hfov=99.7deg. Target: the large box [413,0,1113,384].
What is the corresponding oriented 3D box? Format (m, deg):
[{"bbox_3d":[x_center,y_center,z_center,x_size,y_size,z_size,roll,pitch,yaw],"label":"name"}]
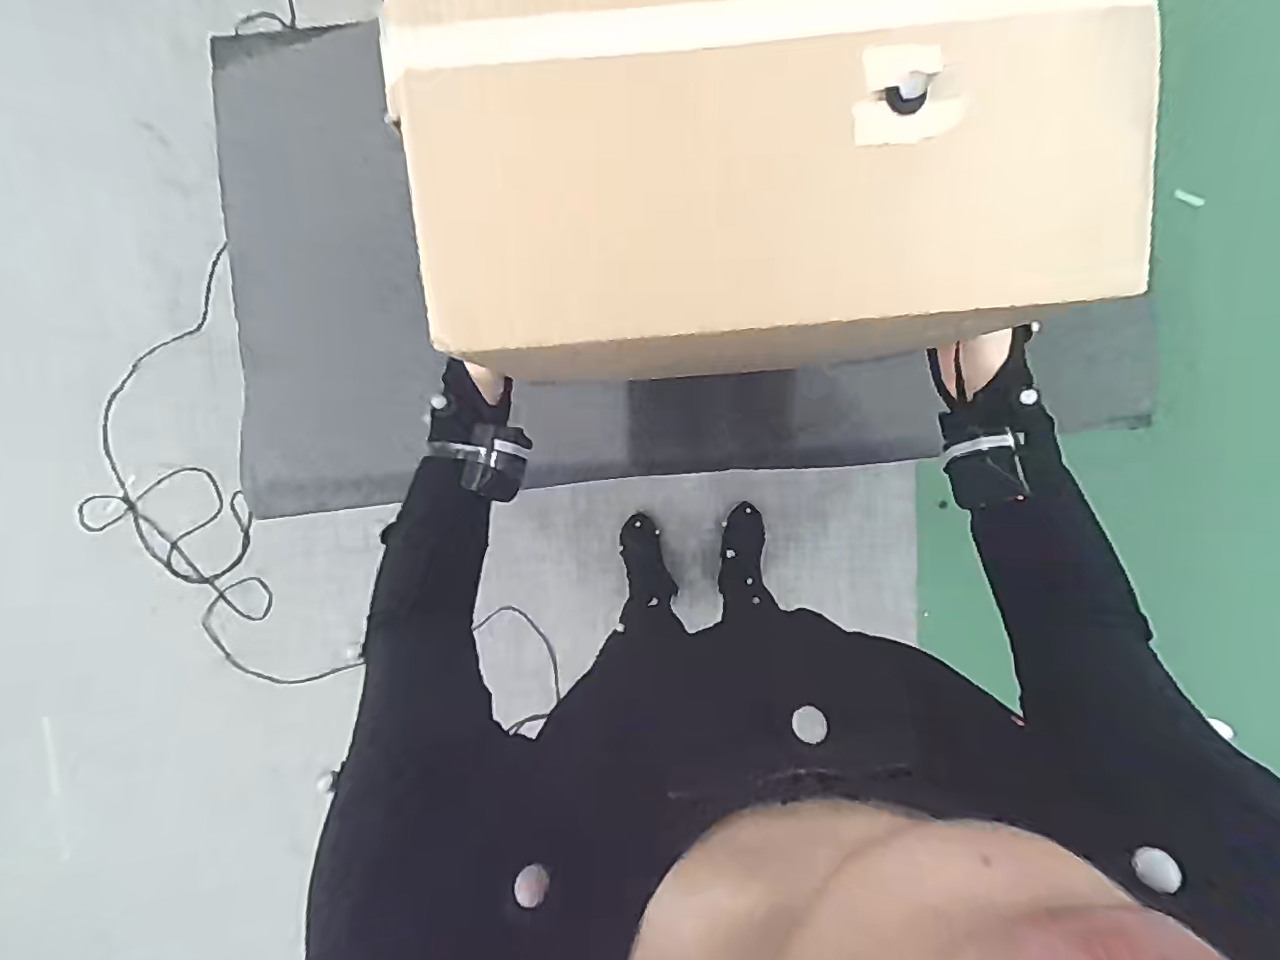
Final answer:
[{"bbox_3d":[0.069,-0.269,0.460,0.408,0.320,0.320,-6,96,0],"label":"large box"}]
